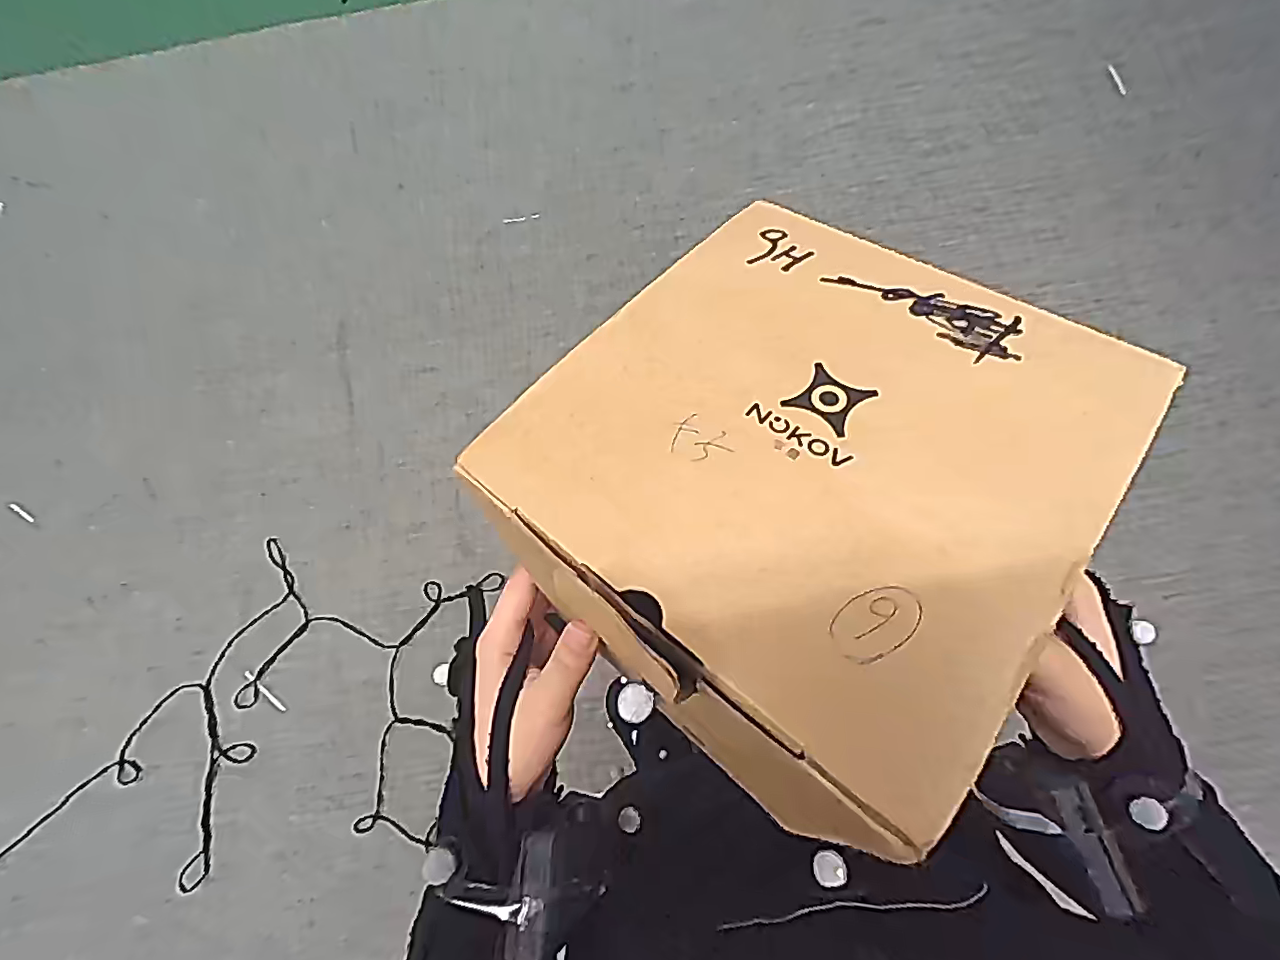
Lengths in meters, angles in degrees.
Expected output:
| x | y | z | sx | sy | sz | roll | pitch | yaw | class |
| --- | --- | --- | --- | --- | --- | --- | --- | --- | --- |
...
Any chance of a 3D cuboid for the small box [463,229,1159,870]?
| x | y | z | sx | sy | sz | roll | pitch | yaw | class |
| --- | --- | --- | --- | --- | --- | --- | --- | --- | --- |
| 0.062 | 0.030 | 0.249 | 0.168 | 0.176 | 0.179 | 35 | 69 | 24 | small box |
